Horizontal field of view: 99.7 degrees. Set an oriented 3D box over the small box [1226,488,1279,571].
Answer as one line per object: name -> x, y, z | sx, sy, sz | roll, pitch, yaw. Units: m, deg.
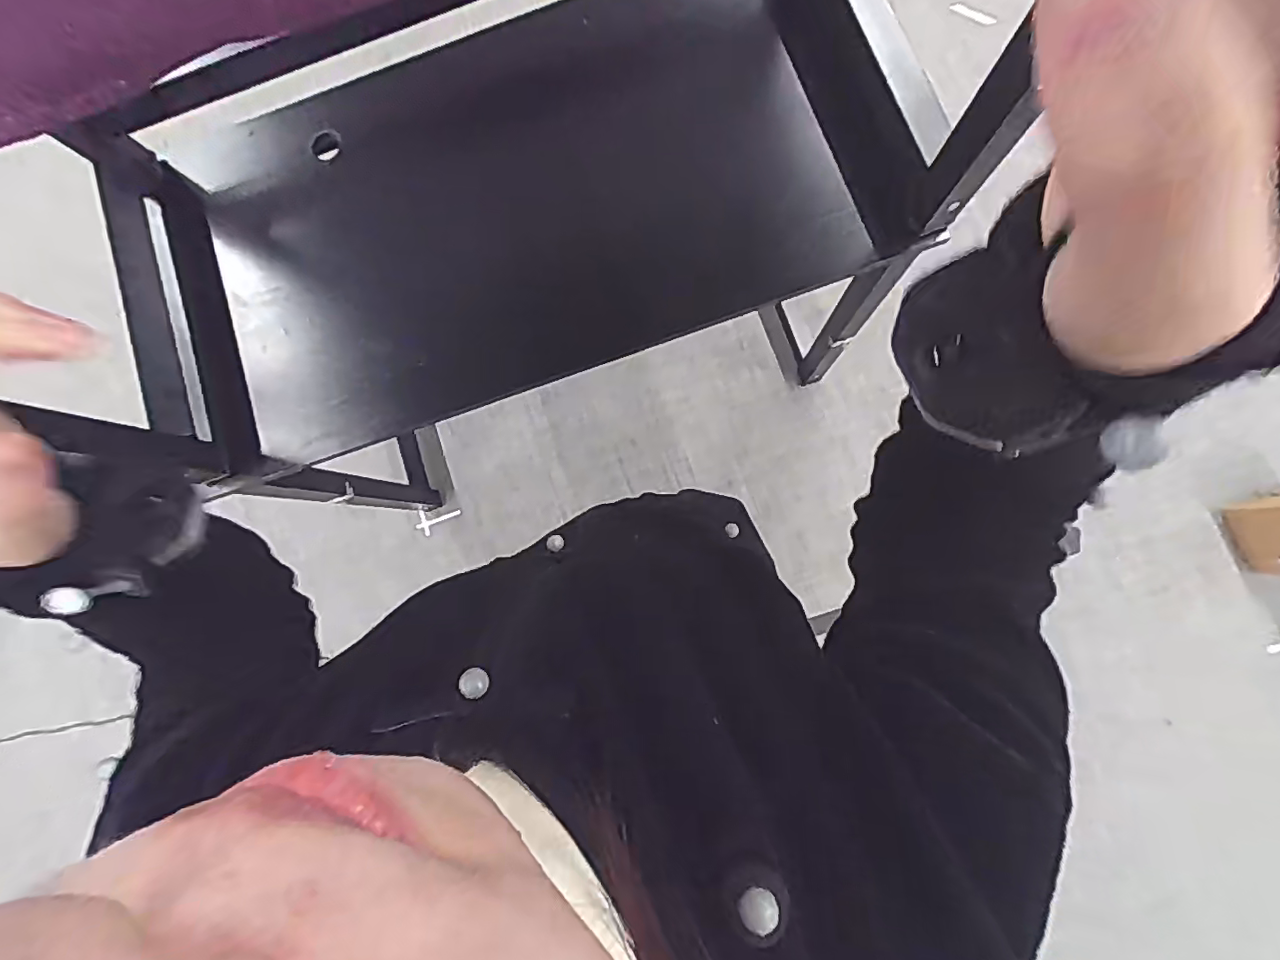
small box -> 1.572, 0.115, 1.274 | 0.168, 0.176, 0.179 | -20, 83, 3
